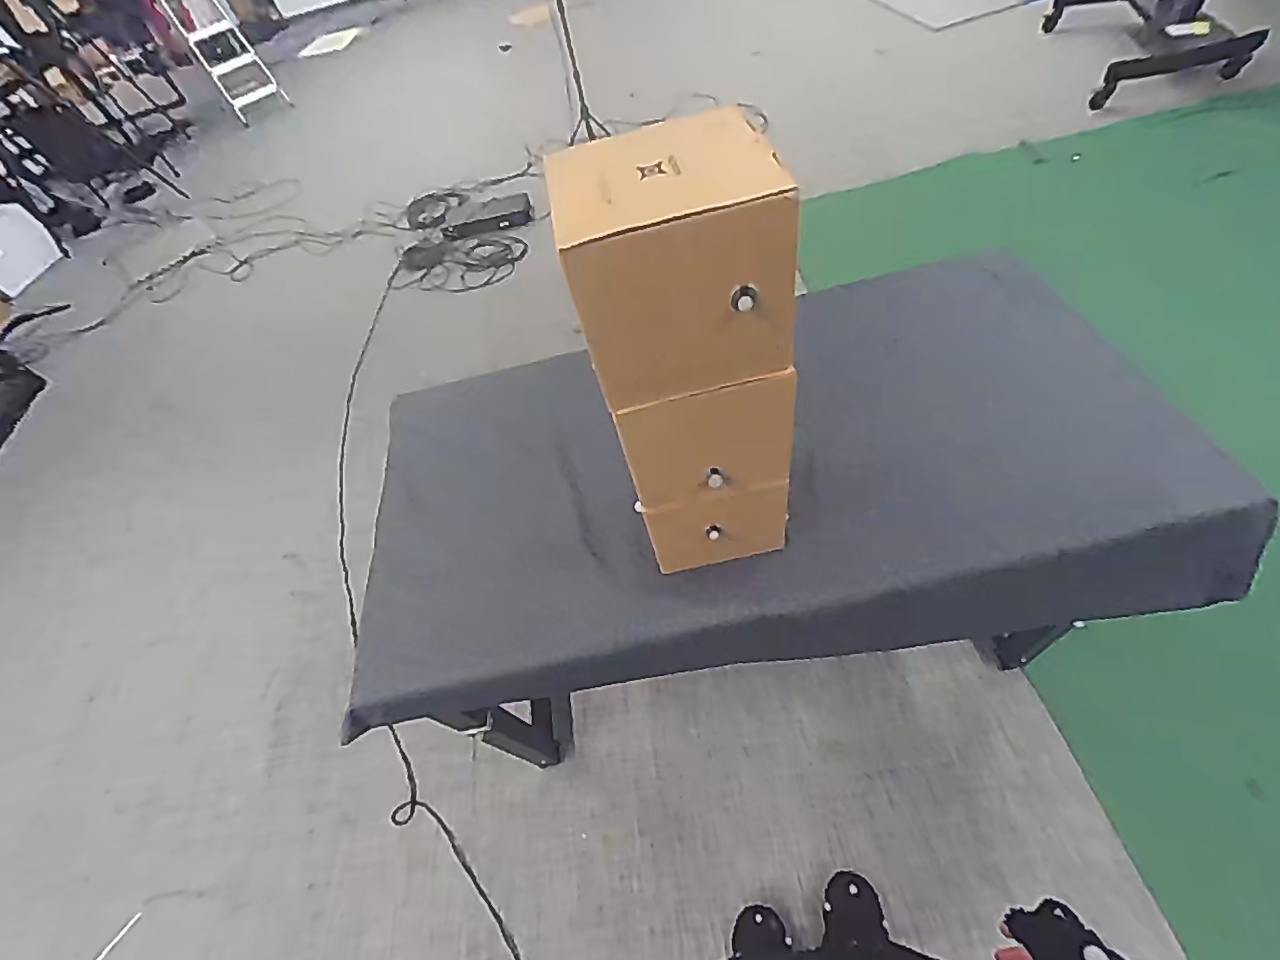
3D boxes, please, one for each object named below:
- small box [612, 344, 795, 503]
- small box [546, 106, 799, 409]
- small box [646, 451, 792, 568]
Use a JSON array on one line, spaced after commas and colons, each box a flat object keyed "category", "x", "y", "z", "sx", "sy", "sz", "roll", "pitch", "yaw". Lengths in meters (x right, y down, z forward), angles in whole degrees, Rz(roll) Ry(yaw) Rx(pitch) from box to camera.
[{"category": "small box", "x": 0.061, "y": -0.096, "z": 0.614, "sx": 0.179, "sy": 0.176, "sz": 0.168, "roll": -12, "pitch": 53, "yaw": 3}, {"category": "small box", "x": 0.028, "y": -0.191, "z": 0.486, "sx": 0.179, "sy": 0.176, "sz": 0.168, "roll": -14, "pitch": 53, "yaw": 3}, {"category": "small box", "x": 0.091, "y": 0.000, "z": 0.743, "sx": 0.179, "sy": 0.176, "sz": 0.168, "roll": -14, "pitch": 54, "yaw": 1}]
